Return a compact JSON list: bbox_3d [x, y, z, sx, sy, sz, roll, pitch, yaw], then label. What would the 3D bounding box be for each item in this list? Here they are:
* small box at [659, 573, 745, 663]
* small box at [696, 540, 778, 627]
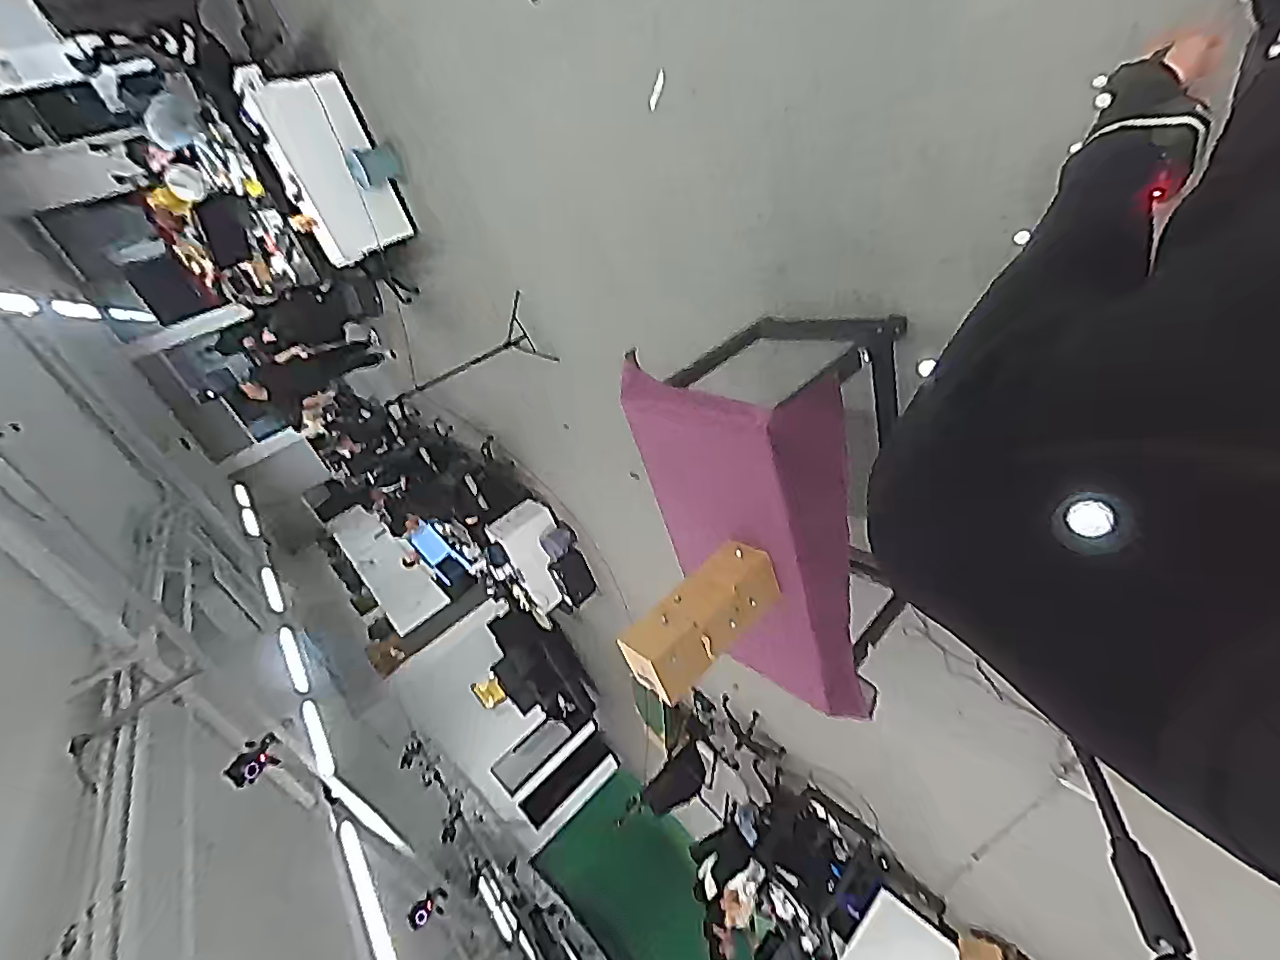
[{"bbox_3d":[0.189,0.406,1.627,0.179,0.176,0.168,22,140,47],"label":"small box"},{"bbox_3d":[0.310,0.318,1.696,0.168,0.176,0.179,15,134,51],"label":"small box"}]
